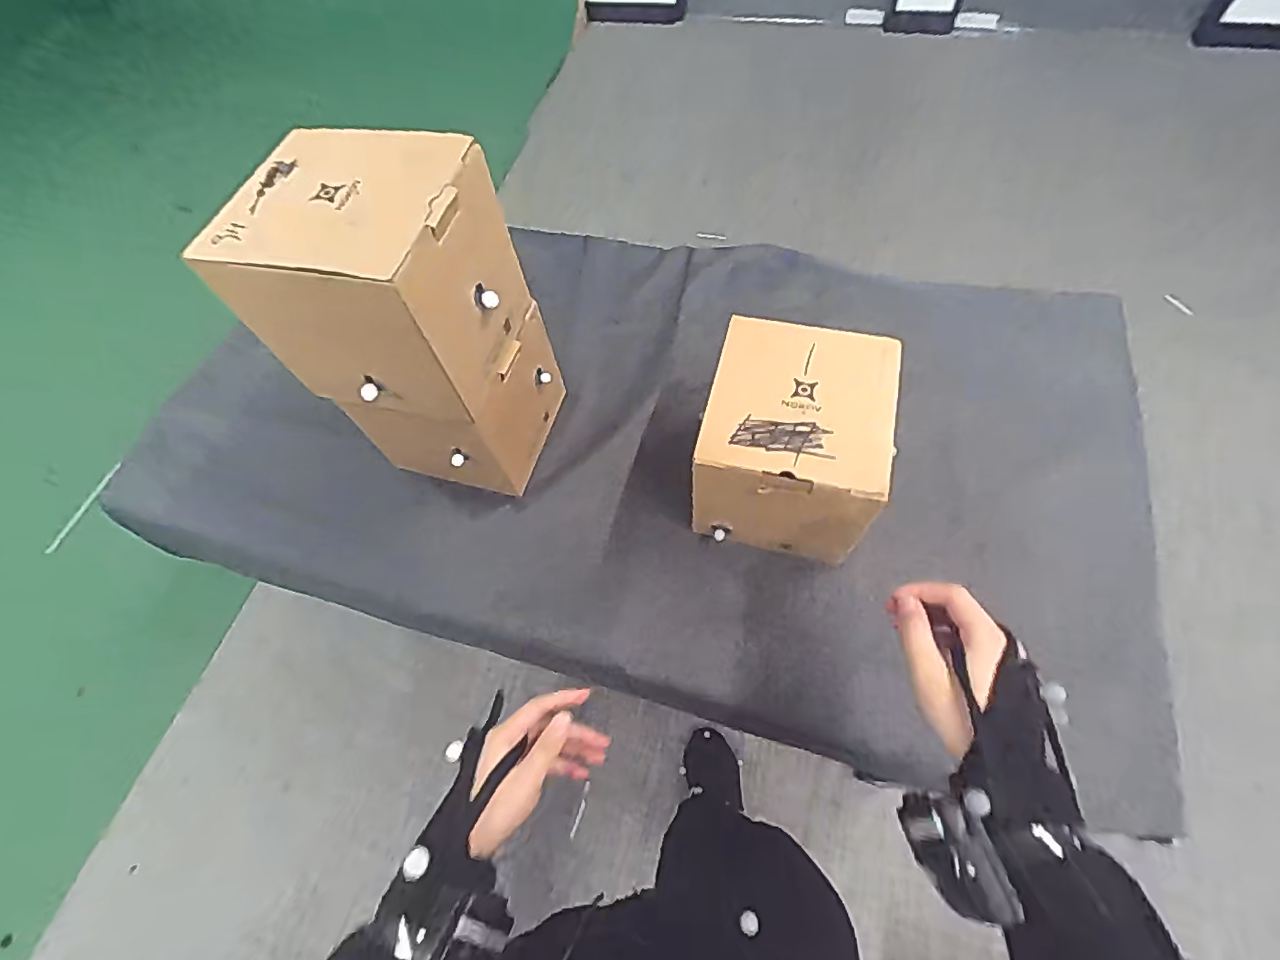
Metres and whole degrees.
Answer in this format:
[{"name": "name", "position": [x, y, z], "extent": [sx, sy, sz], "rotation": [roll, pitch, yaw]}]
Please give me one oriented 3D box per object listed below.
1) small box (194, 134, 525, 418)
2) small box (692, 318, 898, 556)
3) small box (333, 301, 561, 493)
[{"name": "small box", "position": [-0.222, -0.175, 0.490], "extent": [0.179, 0.176, 0.168], "rotation": [10, 61, 9]}, {"name": "small box", "position": [0.154, -0.038, 0.570], "extent": [0.168, 0.176, 0.179], "rotation": [12, 63, 11]}, {"name": "small box", "position": [-0.208, -0.101, 0.637], "extent": [0.179, 0.176, 0.168], "rotation": [12, 62, 12]}]
